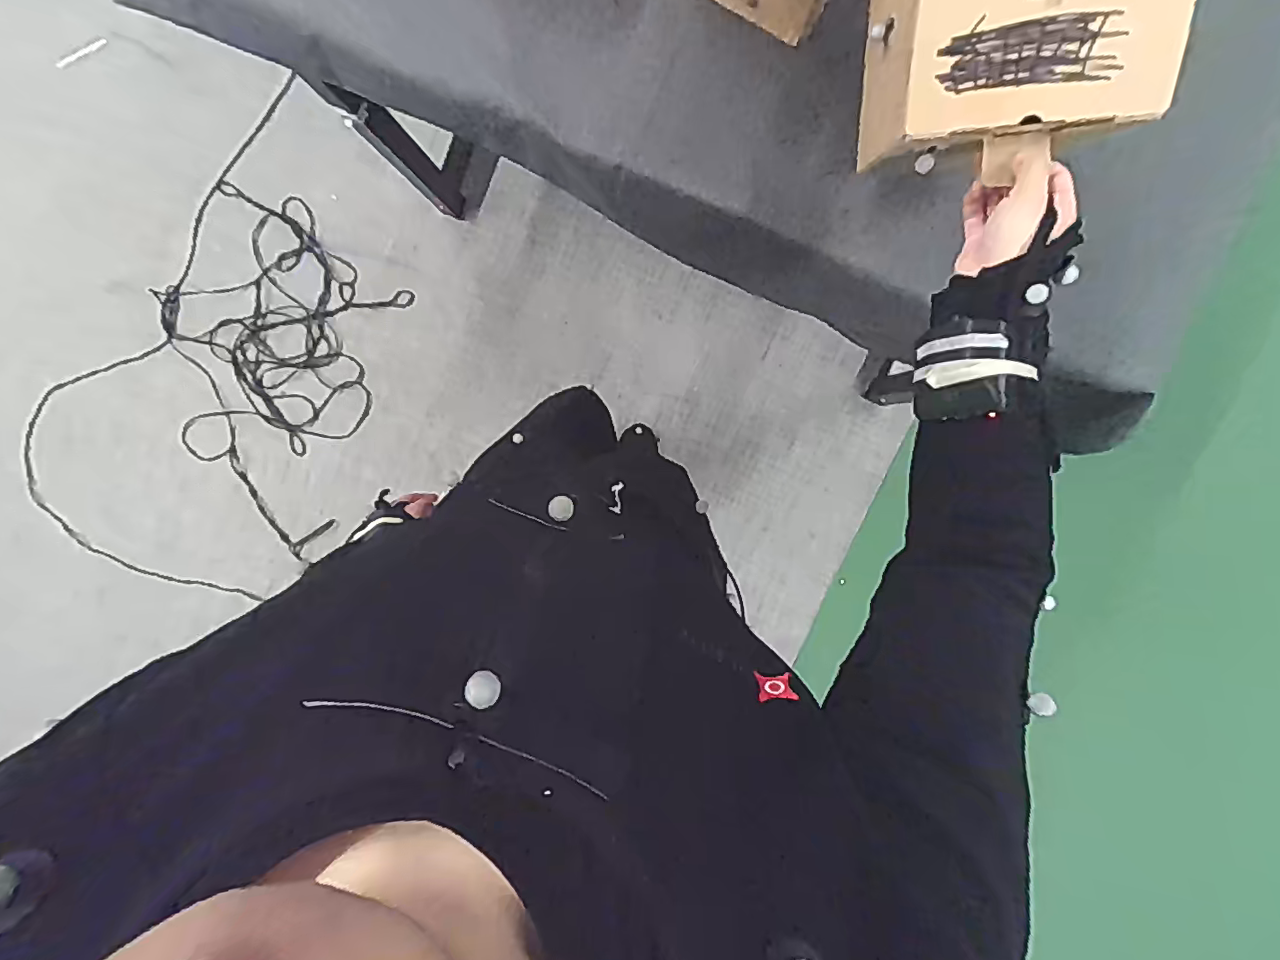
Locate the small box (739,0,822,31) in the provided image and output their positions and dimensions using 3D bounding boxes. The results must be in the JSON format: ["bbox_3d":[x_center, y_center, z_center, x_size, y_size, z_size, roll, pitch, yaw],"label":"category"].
[{"bbox_3d":[0.138,-0.564,0.469,0.168,0.176,0.179,30,96,-2],"label":"small box"}]
